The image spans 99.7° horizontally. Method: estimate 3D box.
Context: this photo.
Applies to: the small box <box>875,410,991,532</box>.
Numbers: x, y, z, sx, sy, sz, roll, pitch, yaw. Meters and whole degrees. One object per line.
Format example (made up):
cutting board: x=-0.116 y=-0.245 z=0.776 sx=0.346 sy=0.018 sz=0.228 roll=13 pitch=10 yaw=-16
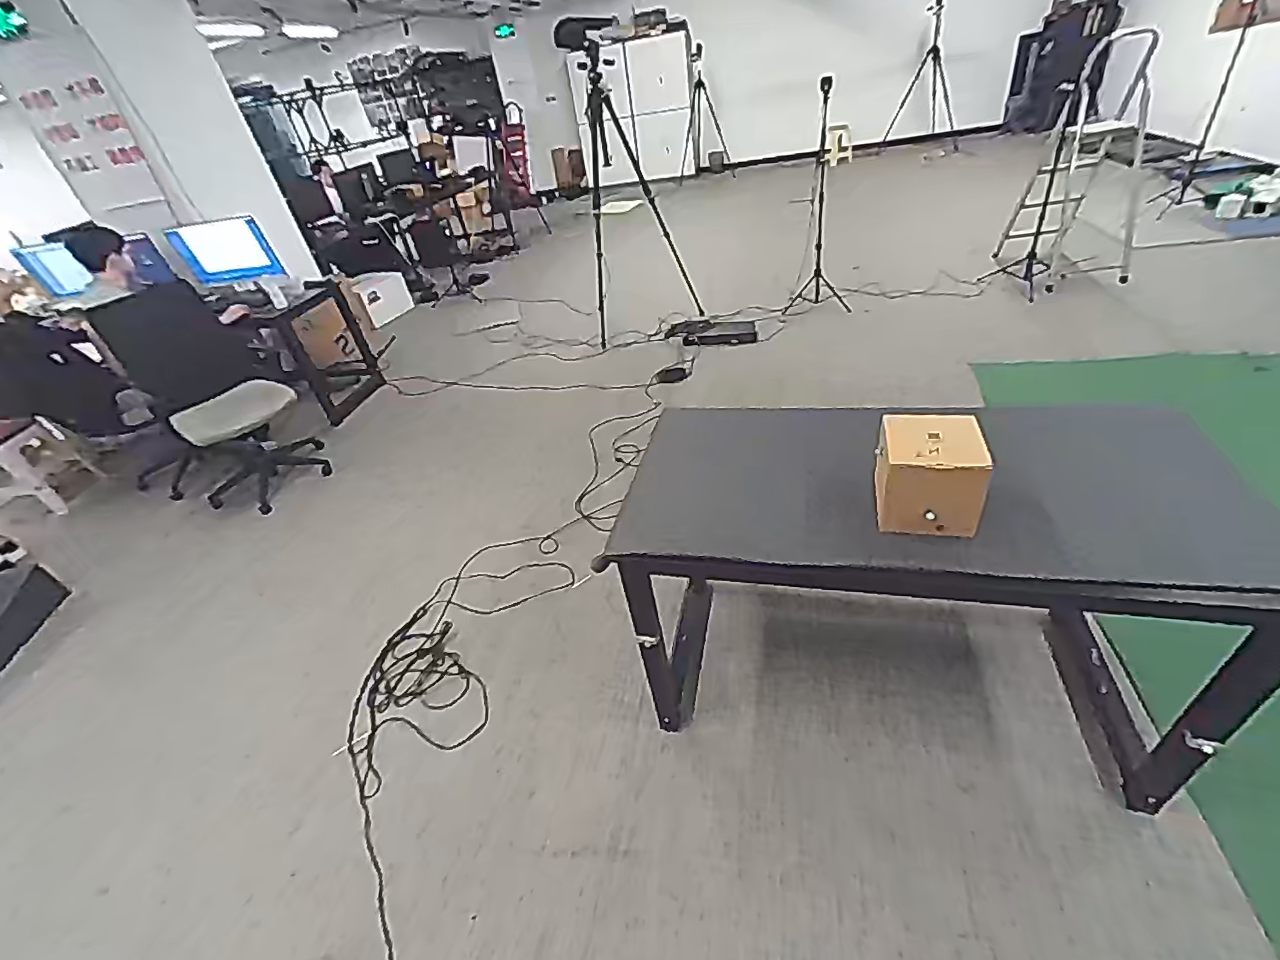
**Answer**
small box: x=0.560 y=-0.022 z=1.059 sx=0.168 sy=0.176 sz=0.179 roll=2 pitch=38 yaw=18
